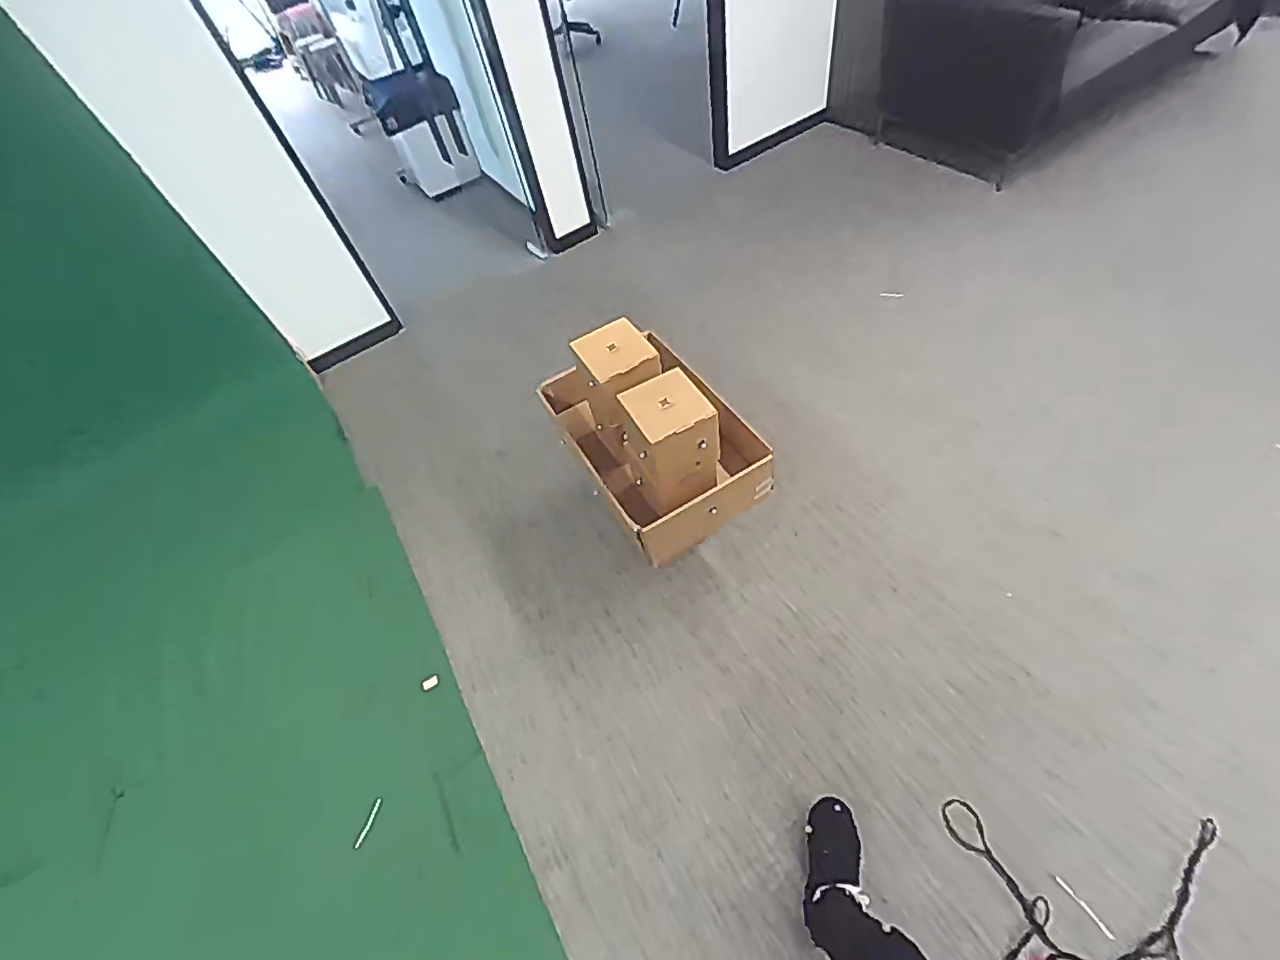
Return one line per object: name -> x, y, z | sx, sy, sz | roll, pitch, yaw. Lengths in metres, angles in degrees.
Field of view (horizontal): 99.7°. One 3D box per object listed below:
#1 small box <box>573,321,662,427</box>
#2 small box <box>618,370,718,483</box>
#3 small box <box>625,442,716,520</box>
small box -> -0.052, -0.271, 1.397 | 0.168, 0.176, 0.179 | -28, 56, -11
small box -> 0.070, -0.115, 1.254 | 0.168, 0.176, 0.179 | -26, 53, -10
small box -> 0.083, -0.020, 1.386 | 0.168, 0.176, 0.179 | -28, 53, -11
